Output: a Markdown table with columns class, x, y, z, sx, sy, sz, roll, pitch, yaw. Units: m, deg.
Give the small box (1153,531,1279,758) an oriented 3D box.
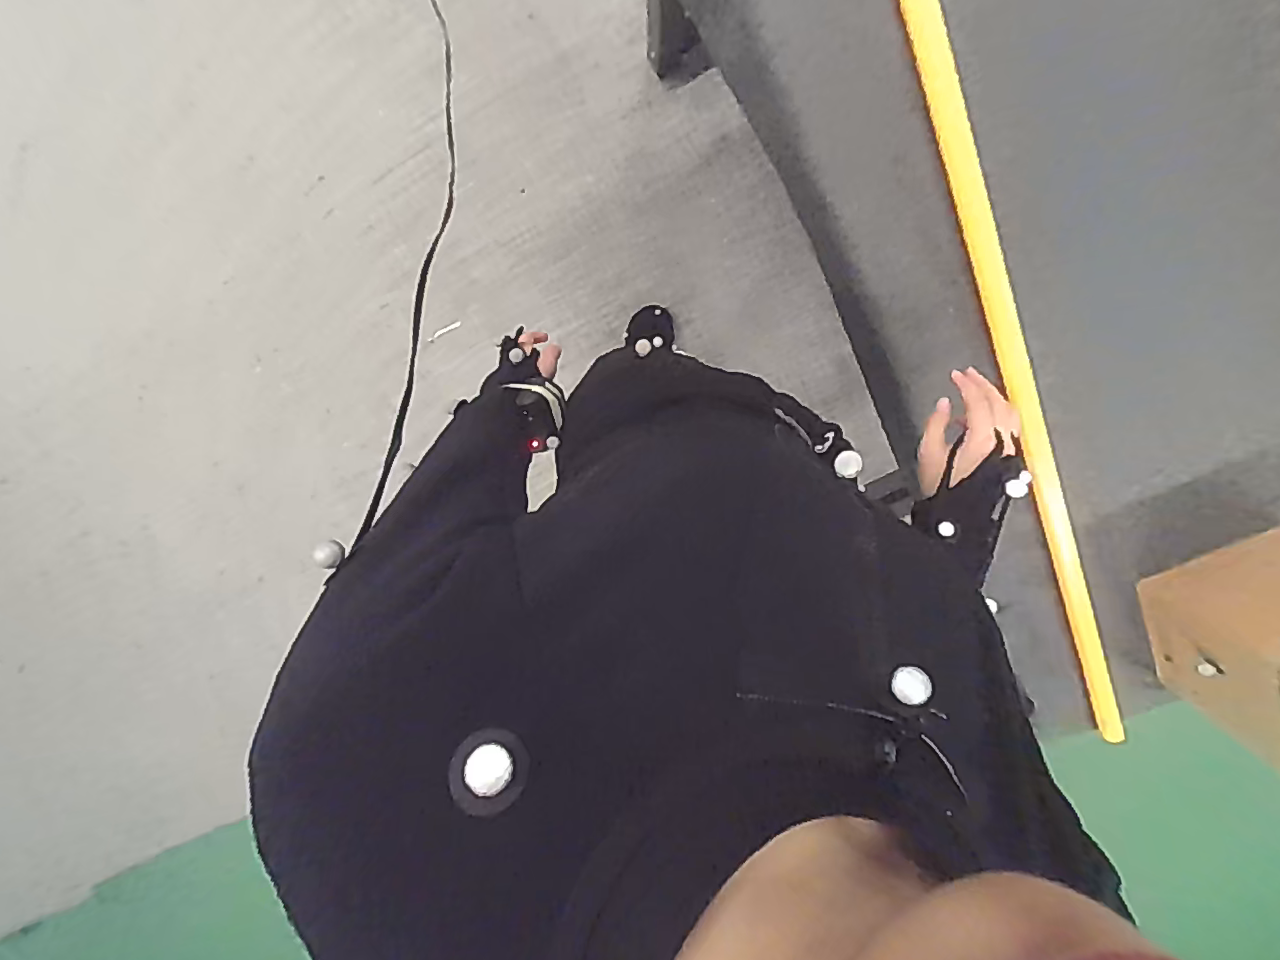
| class | x | y | z | sx | sy | sz | roll | pitch | yaw |
| --- | --- | --- | --- | --- | --- | --- | --- | --- | --- |
| small box | 0.713 | 0.181 | 0.584 | 0.179 | 0.176 | 0.168 | -26 | 105 | 8 |
